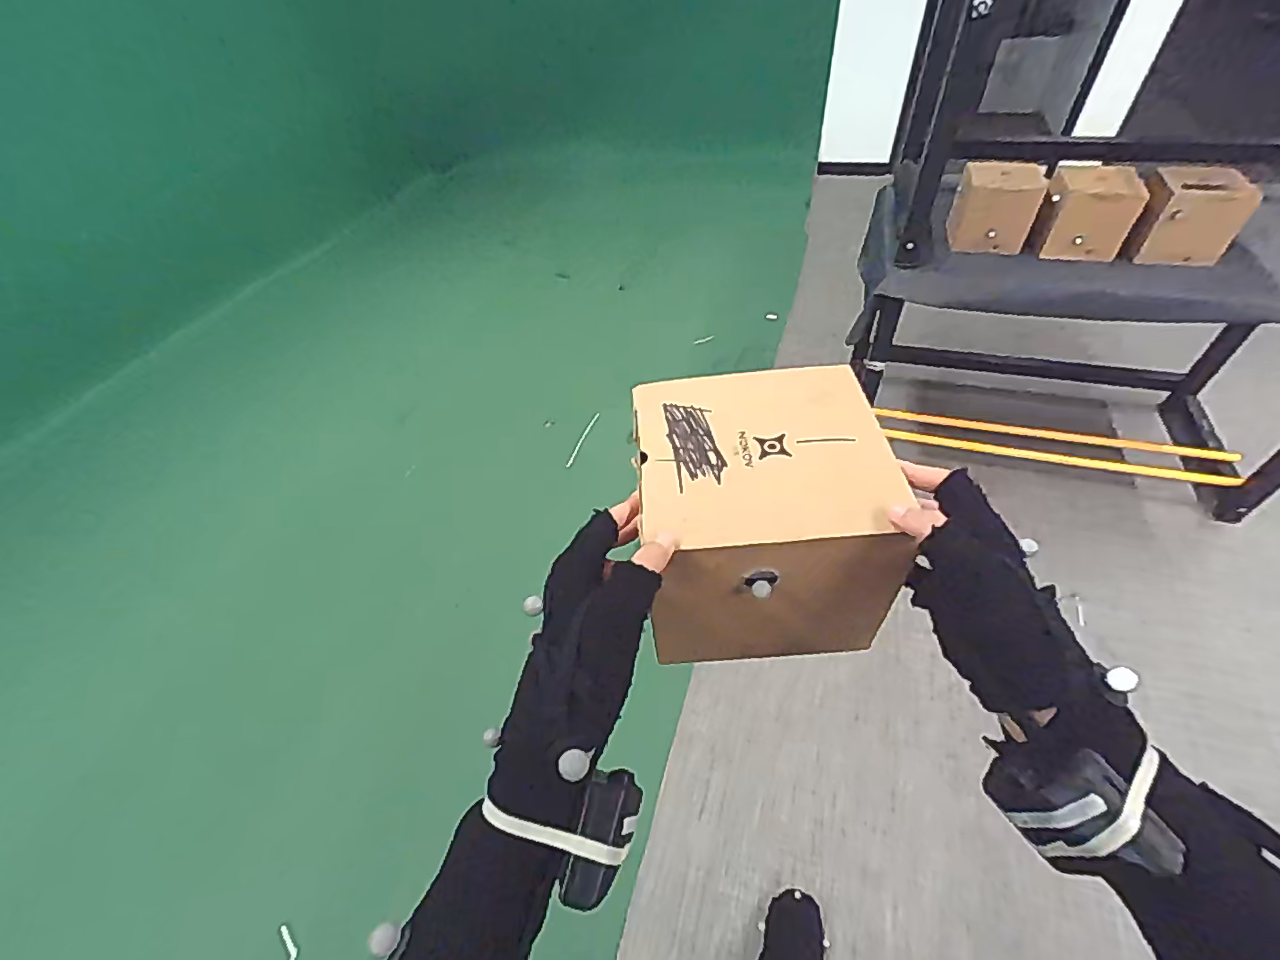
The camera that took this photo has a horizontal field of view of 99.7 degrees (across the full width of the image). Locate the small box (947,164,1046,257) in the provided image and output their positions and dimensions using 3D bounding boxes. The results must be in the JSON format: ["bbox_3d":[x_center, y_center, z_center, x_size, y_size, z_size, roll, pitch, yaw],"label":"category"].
[{"bbox_3d":[0.934,-0.717,1.437,0.168,0.176,0.179,10,50,15],"label":"small box"}]

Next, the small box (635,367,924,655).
[{"bbox_3d":[0.092,0.031,0.441,0.179,0.176,0.168,-4,48,2],"label":"small box"}]
